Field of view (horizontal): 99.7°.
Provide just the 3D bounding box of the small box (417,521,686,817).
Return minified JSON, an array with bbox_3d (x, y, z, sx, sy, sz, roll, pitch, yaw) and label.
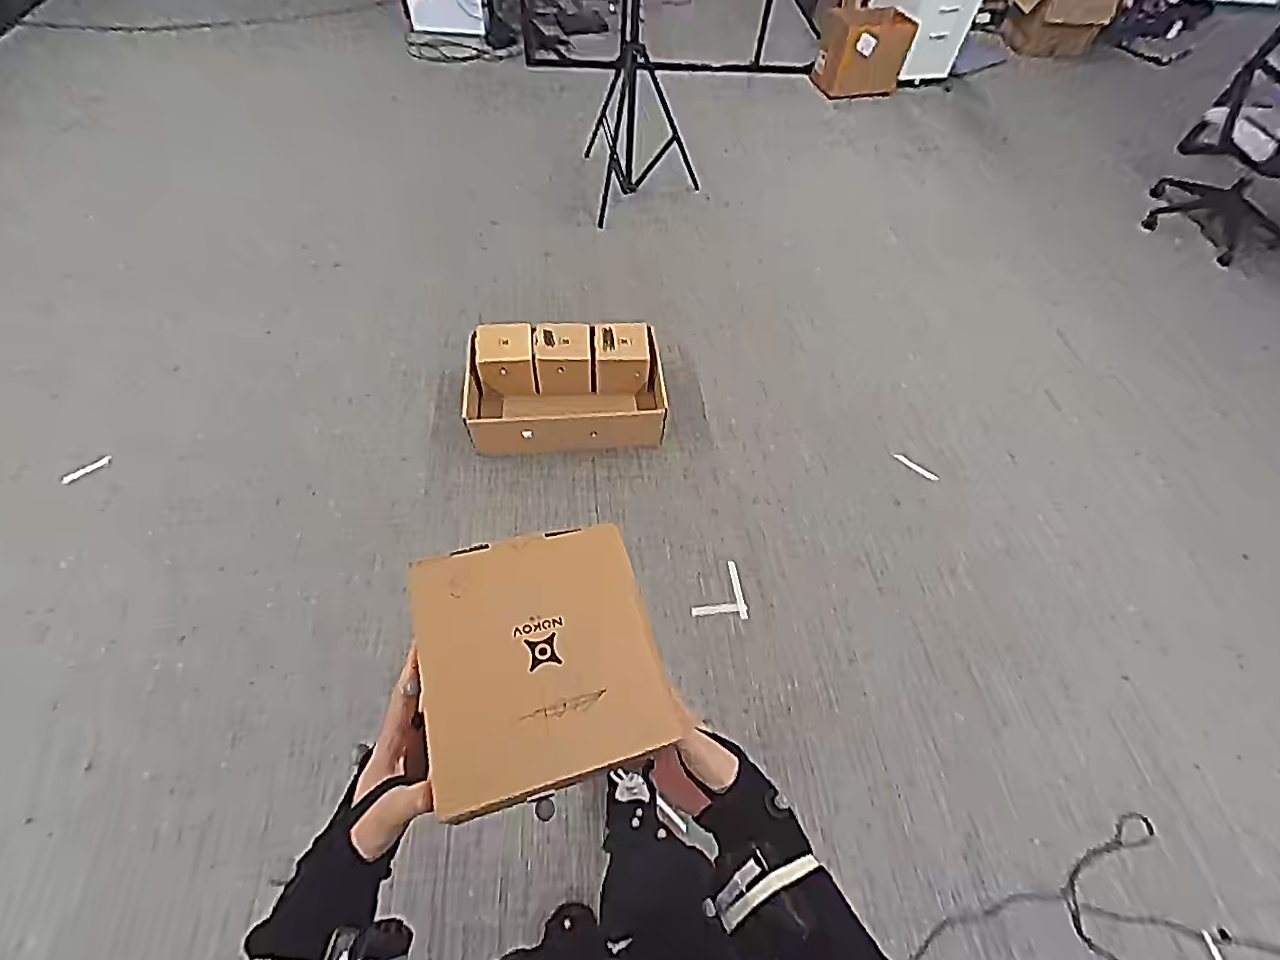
[{"bbox_3d":[-0.084,0.159,0.454,0.168,0.176,0.179,-9,60,-19],"label":"small box"}]
